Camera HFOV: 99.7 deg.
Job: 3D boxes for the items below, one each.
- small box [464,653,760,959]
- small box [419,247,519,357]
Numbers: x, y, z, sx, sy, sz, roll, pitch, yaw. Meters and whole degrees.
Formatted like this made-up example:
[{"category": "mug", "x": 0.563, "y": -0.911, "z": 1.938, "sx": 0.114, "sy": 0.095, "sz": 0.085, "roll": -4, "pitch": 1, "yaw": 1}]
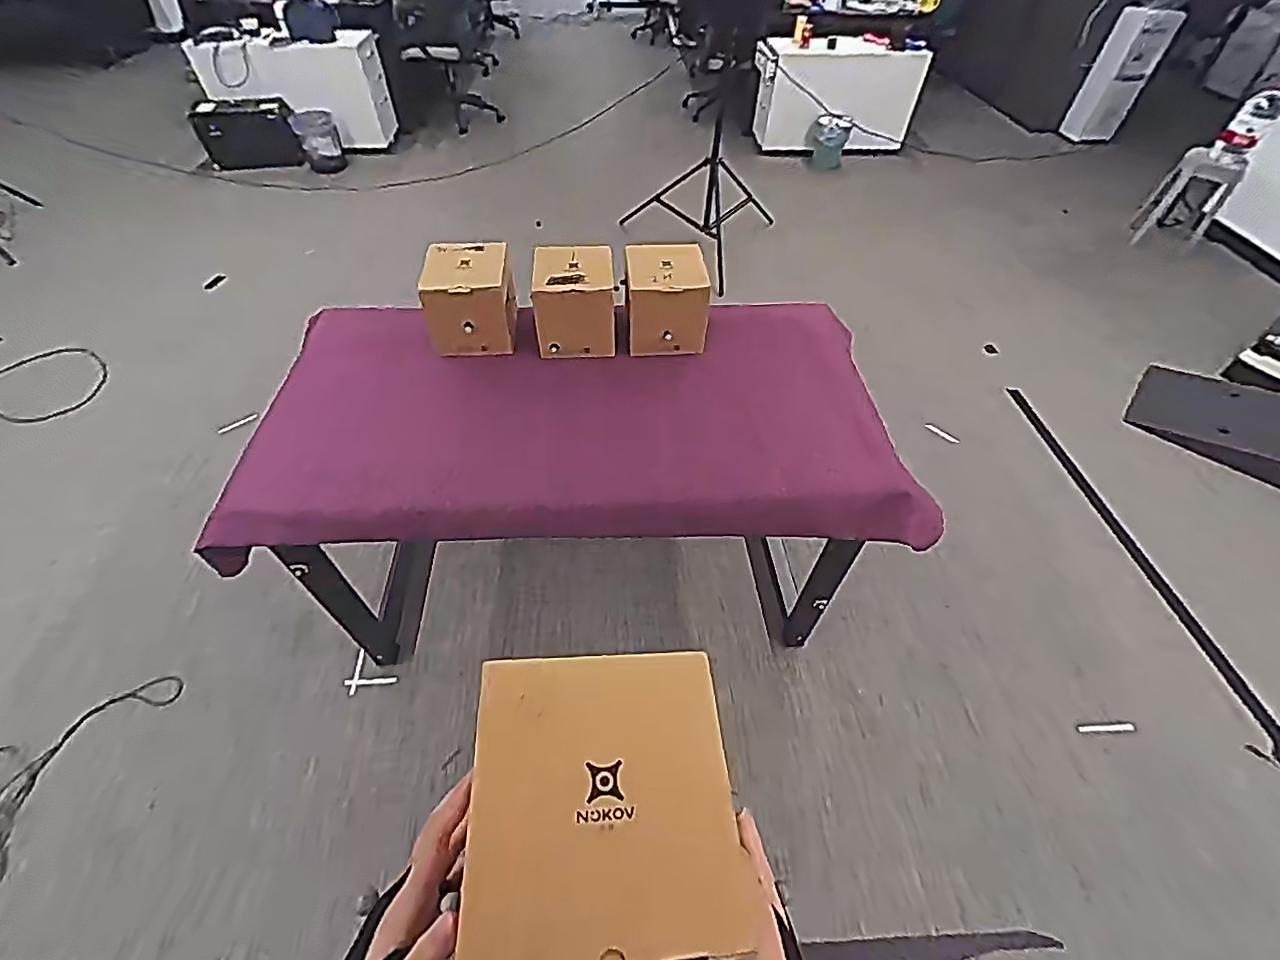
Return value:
[{"category": "small box", "x": -0.031, "y": 0.249, "z": 0.405, "sx": 0.168, "sy": 0.176, "sz": 0.179, "roll": 0, "pitch": 50, "yaw": -10}, {"category": "small box", "x": -0.363, "y": -0.384, "z": 1.183, "sx": 0.168, "sy": 0.176, "sz": 0.179, "roll": -3, "pitch": 53, "yaw": -4}]
